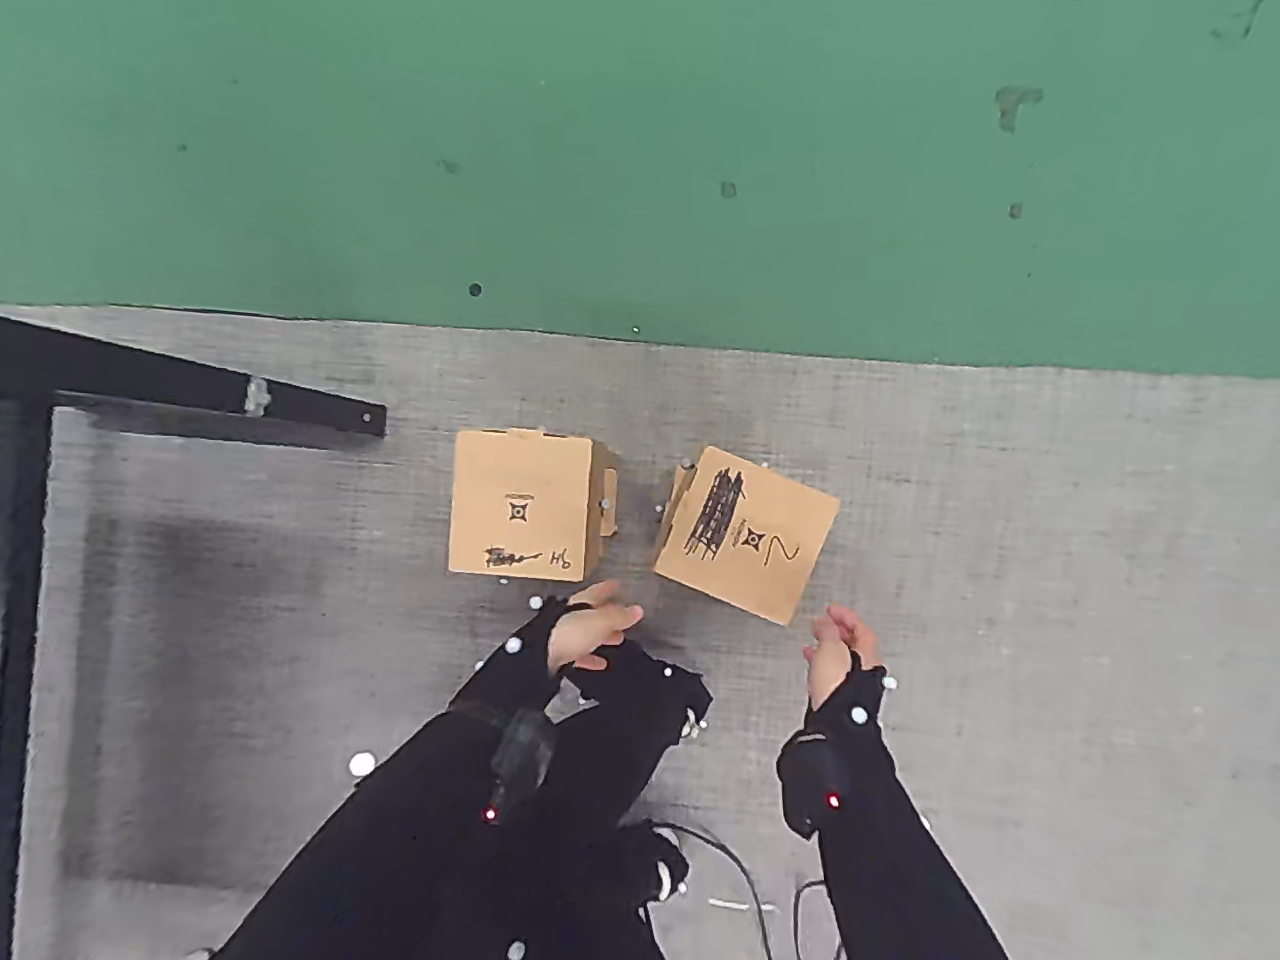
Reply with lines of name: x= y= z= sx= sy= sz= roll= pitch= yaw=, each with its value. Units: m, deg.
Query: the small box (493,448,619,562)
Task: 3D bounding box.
small box: x=-0.129 y=0.035 z=0.893 sx=0.179 sy=0.176 sz=0.168 roll=3 pitch=90 yaw=3

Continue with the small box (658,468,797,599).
small box: x=0.132 y=0.077 z=0.882 sx=0.179 sy=0.176 sz=0.168 roll=14 pitch=91 yaw=1
